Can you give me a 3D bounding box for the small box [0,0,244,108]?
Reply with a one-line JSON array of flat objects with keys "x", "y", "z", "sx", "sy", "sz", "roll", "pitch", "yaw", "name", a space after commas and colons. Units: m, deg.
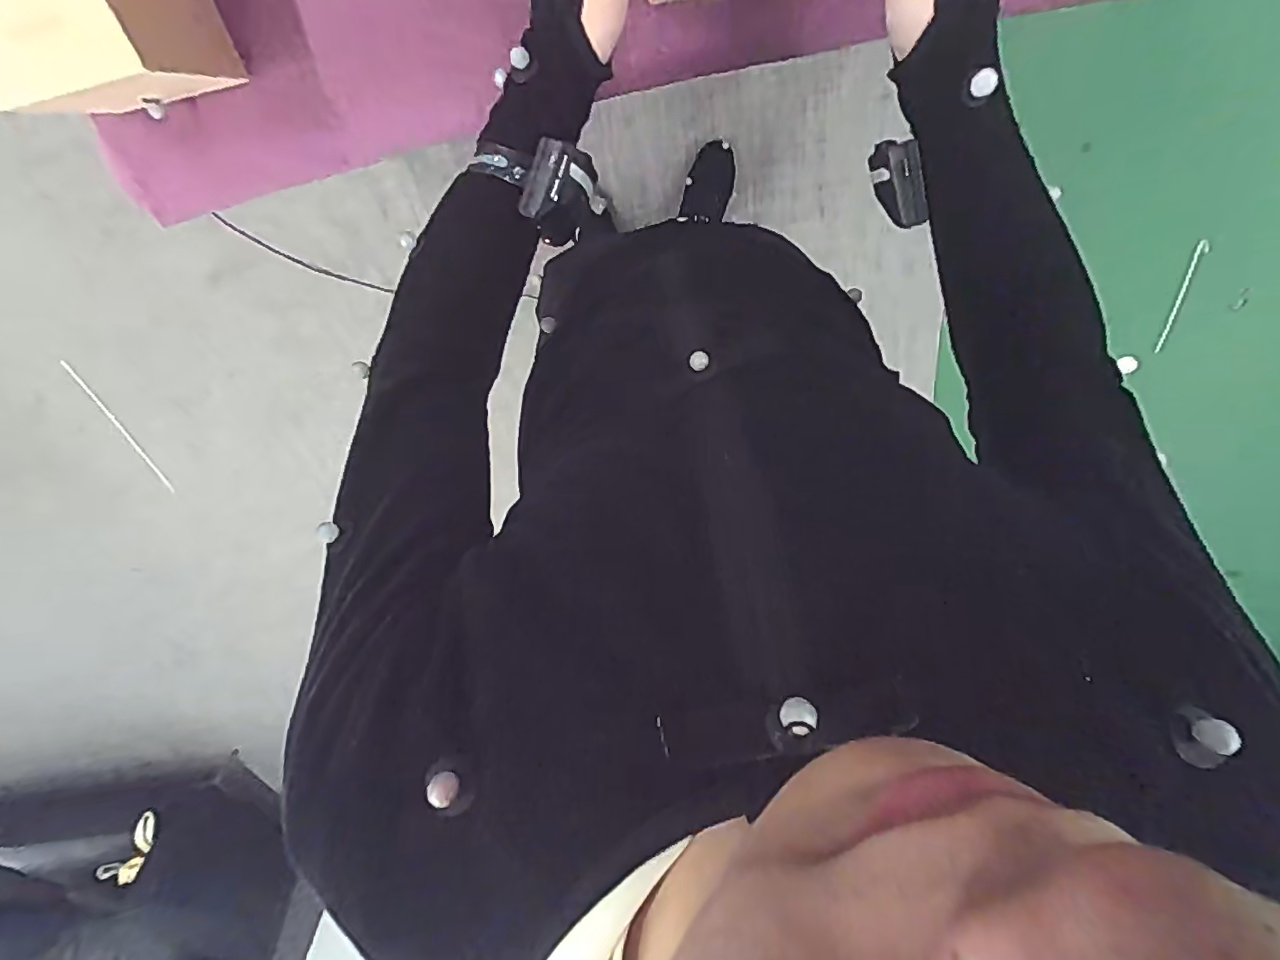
[{"x": -0.541, "y": -0.474, "z": 0.515, "sx": 0.168, "sy": 0.176, "sz": 0.179, "roll": -9, "pitch": 124, "yaw": 5, "name": "small box"}]
